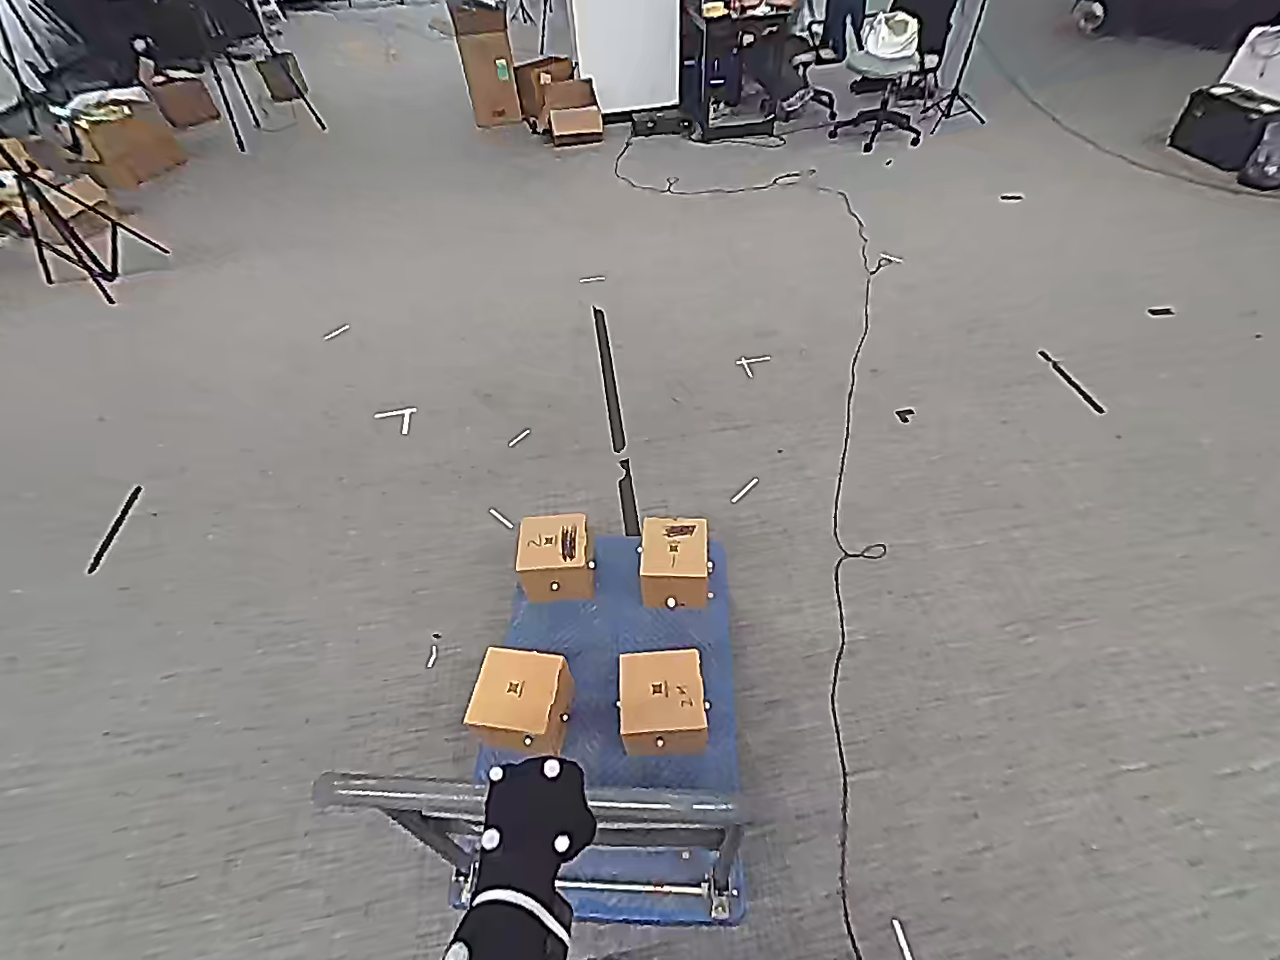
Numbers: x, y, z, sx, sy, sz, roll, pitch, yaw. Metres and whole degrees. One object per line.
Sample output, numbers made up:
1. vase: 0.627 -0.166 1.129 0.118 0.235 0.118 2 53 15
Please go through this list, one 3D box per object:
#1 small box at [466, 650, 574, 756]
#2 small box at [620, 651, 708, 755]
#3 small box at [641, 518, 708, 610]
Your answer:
1. small box: -0.255 0.497 1.200 0.179 0.176 0.168 4 49 7
2. small box: 0.052 0.490 1.180 0.179 0.176 0.168 -4 49 1
3. small box: 0.092 0.220 1.413 0.168 0.176 0.179 0 50 5
